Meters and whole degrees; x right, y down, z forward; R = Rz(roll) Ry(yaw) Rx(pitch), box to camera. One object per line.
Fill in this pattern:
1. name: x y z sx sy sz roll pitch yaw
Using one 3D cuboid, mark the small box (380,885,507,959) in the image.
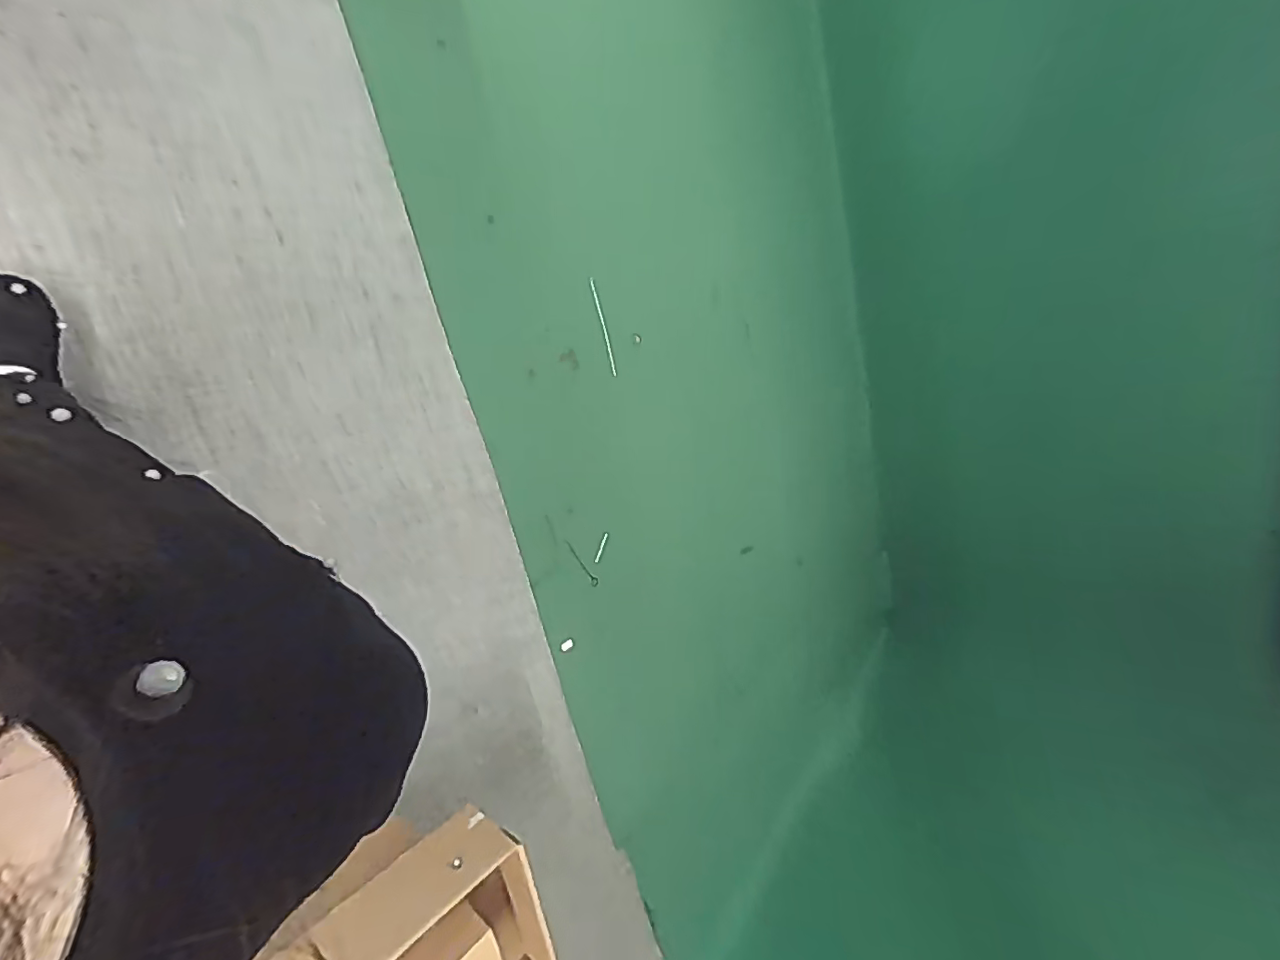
1. small box: -0.364 0.934 1.029 0.168 0.176 0.179 -24 106 -43
